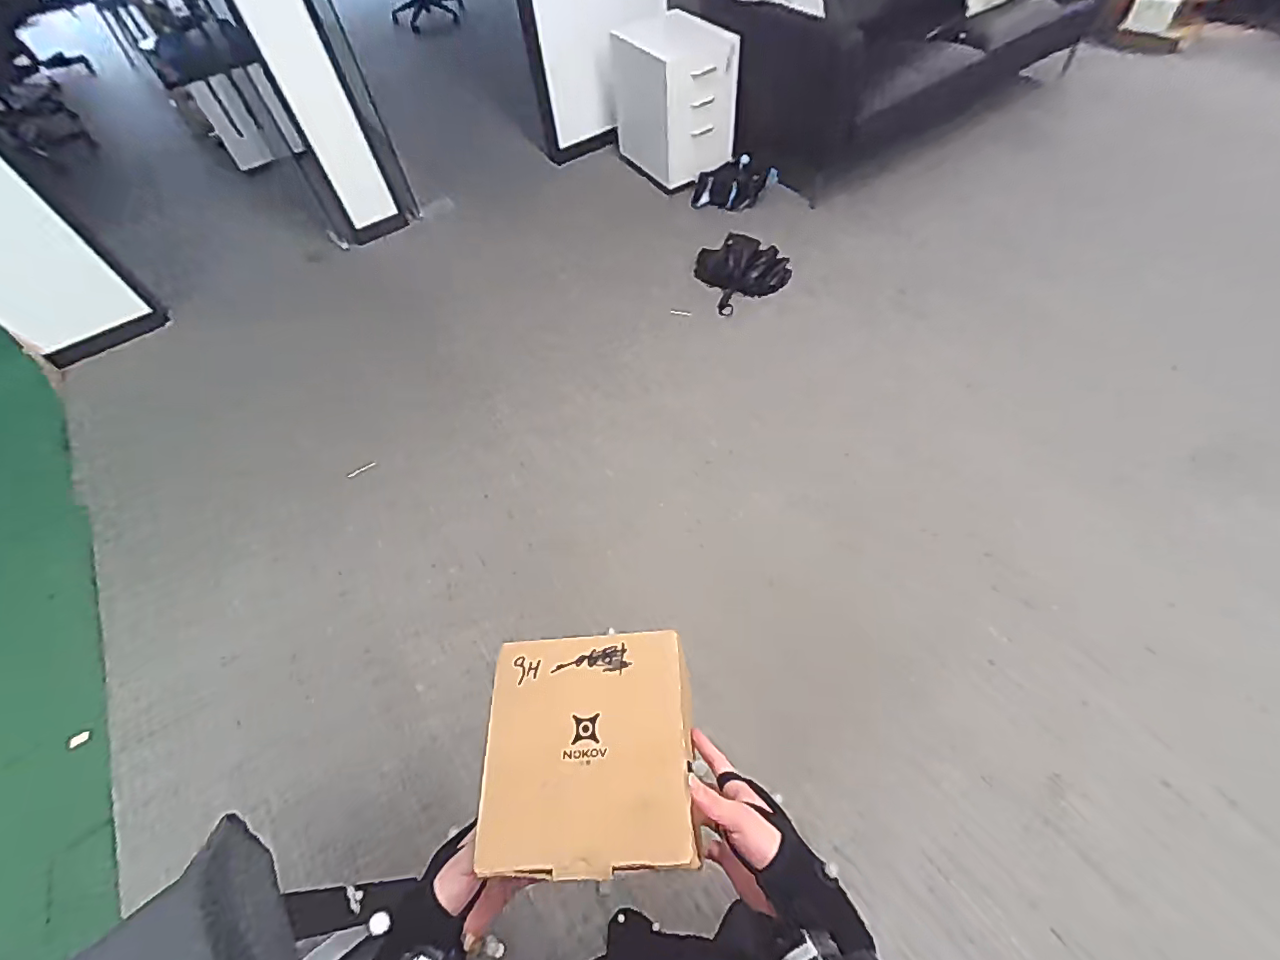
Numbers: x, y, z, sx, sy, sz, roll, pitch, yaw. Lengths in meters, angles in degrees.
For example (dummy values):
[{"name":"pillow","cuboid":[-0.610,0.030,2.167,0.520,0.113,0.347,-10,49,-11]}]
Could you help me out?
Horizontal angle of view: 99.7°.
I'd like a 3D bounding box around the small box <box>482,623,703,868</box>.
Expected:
[{"name":"small box","cuboid":[-0.030,0.249,0.504,0.168,0.176,0.179,-5,56,4]}]
